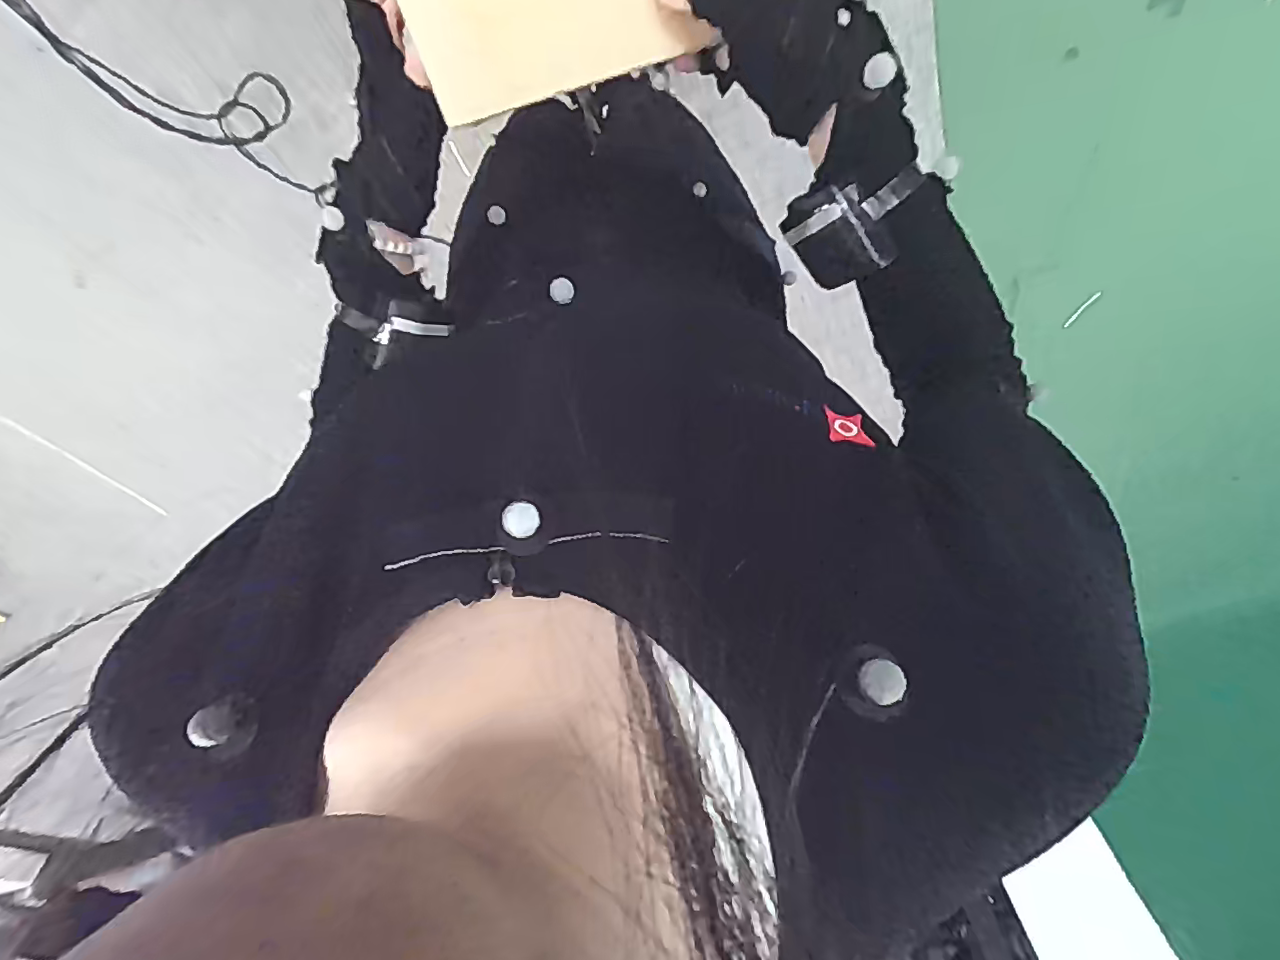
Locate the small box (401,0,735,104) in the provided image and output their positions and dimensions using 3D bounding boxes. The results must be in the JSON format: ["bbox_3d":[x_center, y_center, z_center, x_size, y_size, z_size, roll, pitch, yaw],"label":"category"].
[{"bbox_3d":[-0.063,-0.340,0.317,0.179,0.176,0.168,-20,126,-2],"label":"small box"}]
